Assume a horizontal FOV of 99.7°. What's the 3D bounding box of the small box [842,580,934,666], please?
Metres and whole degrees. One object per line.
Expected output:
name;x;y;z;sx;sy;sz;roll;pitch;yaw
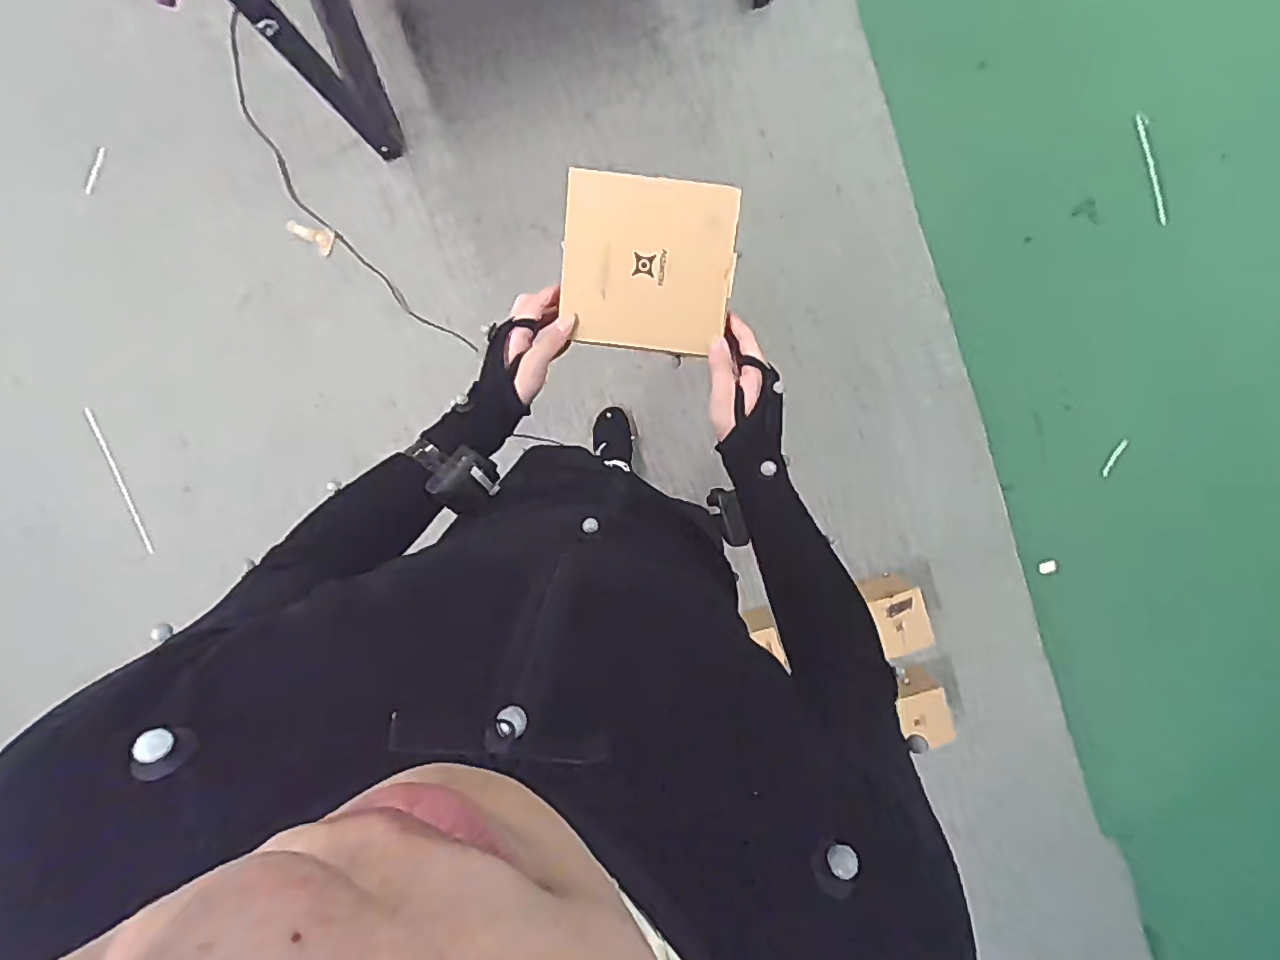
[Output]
small box;0.710;0.403;1.565;0.168;0.176;0.179;-18;95;2

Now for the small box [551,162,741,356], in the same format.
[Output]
small box;0.005;-0.236;0.618;0.179;0.176;0.168;7;102;0

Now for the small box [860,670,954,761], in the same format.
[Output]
small box;0.779;0.683;1.589;0.179;0.176;0.168;-16;95;1
